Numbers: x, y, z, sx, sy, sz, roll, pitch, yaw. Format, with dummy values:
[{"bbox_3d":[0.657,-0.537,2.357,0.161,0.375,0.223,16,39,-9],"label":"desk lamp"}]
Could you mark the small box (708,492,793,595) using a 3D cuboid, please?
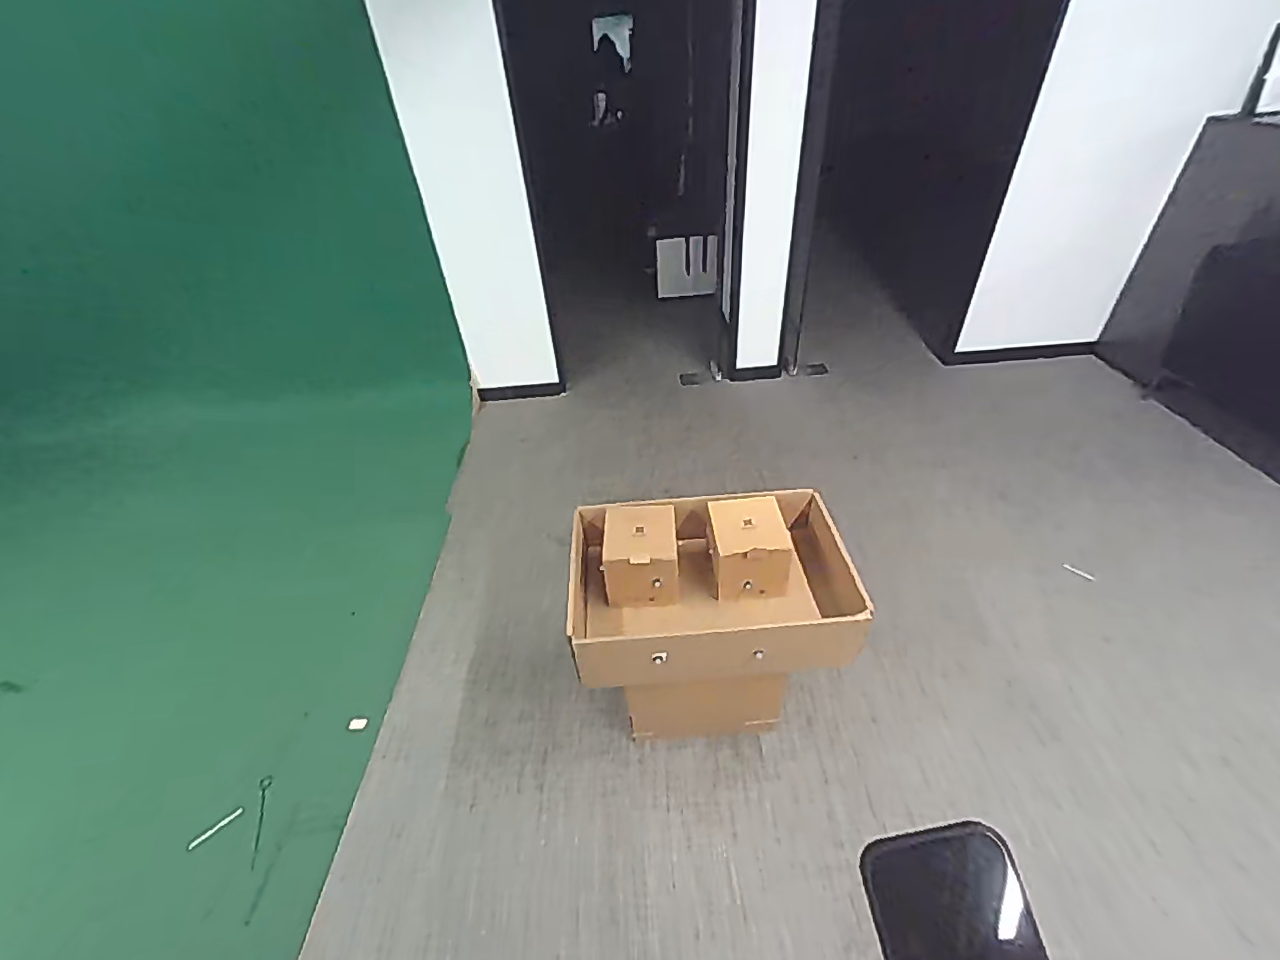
[{"bbox_3d":[0.254,0.151,1.291,0.168,0.176,0.179,-6,41,1],"label":"small box"}]
